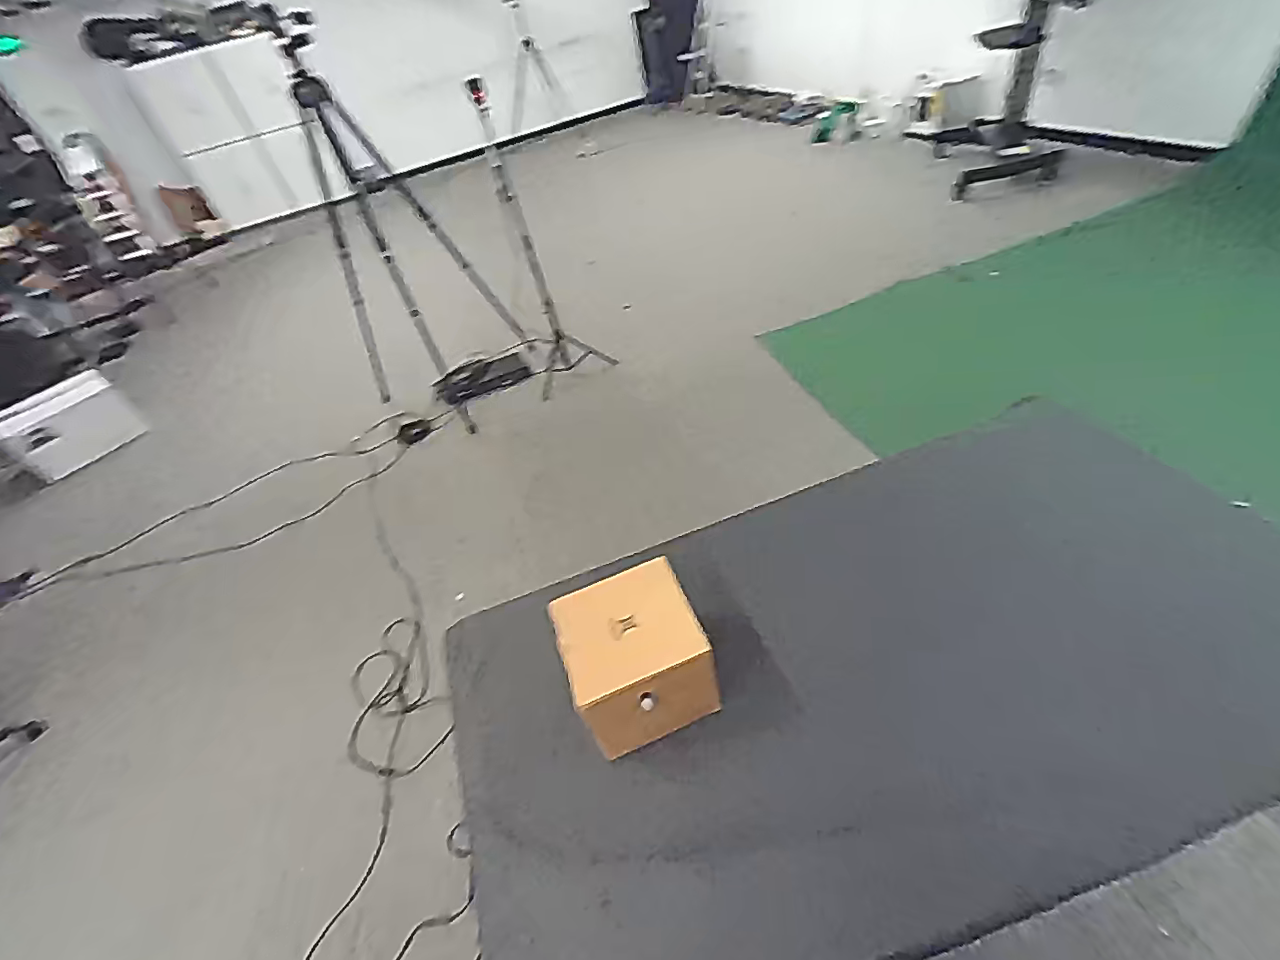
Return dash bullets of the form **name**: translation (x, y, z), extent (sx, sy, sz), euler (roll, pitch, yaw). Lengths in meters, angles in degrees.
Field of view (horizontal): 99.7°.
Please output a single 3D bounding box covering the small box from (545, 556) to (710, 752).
- **small box**: translation (-0.012, 0.244, 0.757), extent (0.179, 0.176, 0.168), euler (-23, 43, -7)
